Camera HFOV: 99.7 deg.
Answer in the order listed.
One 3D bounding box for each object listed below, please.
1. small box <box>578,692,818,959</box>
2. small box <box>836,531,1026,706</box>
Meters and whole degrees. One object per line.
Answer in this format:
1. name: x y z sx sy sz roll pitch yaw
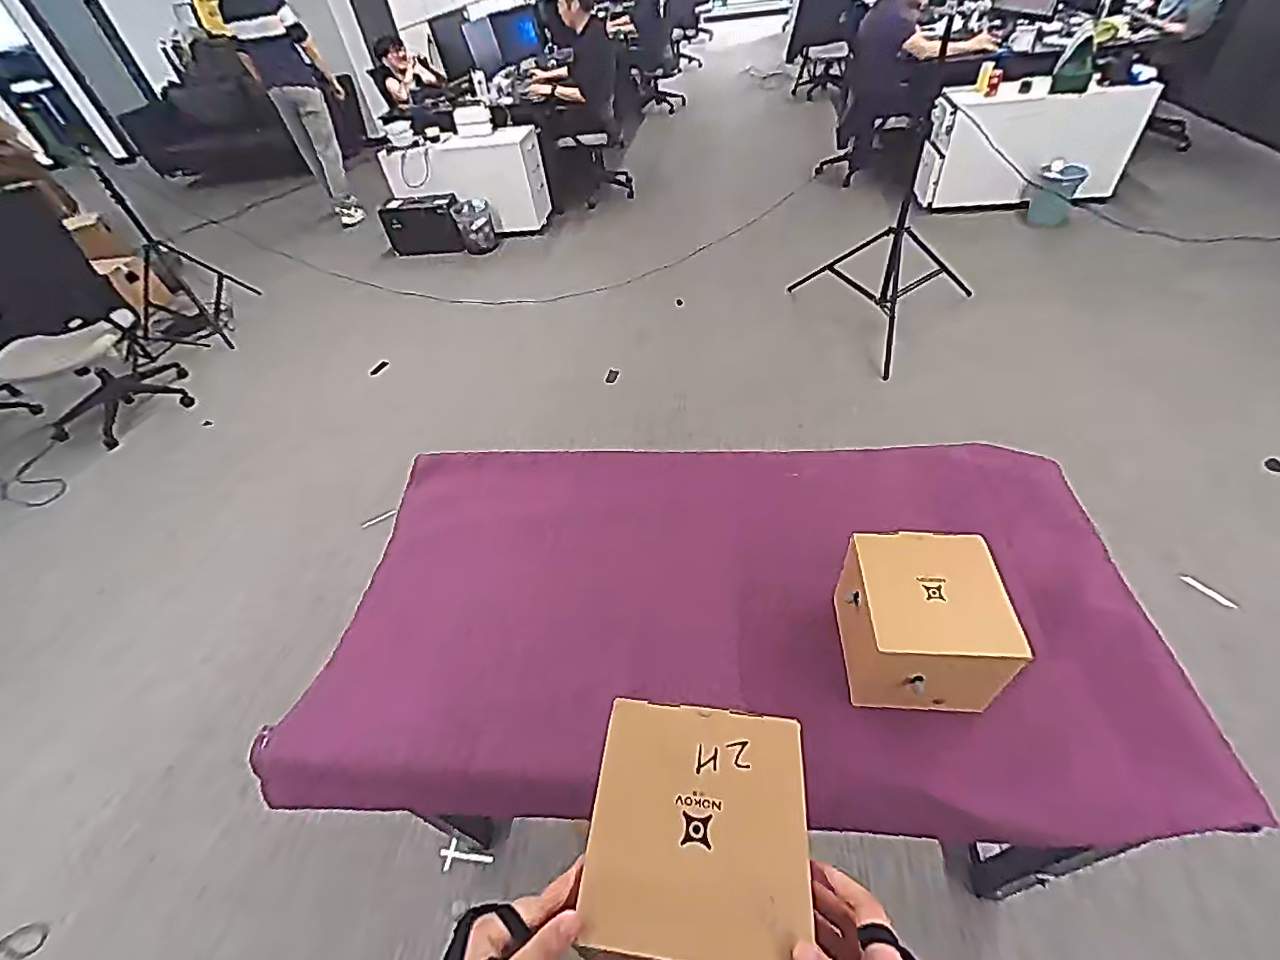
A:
1. small box: 0.052 0.317 0.475 0.168 0.176 0.179 5 42 7
2. small box: 0.372 0.188 0.730 0.168 0.176 0.179 0 46 8
